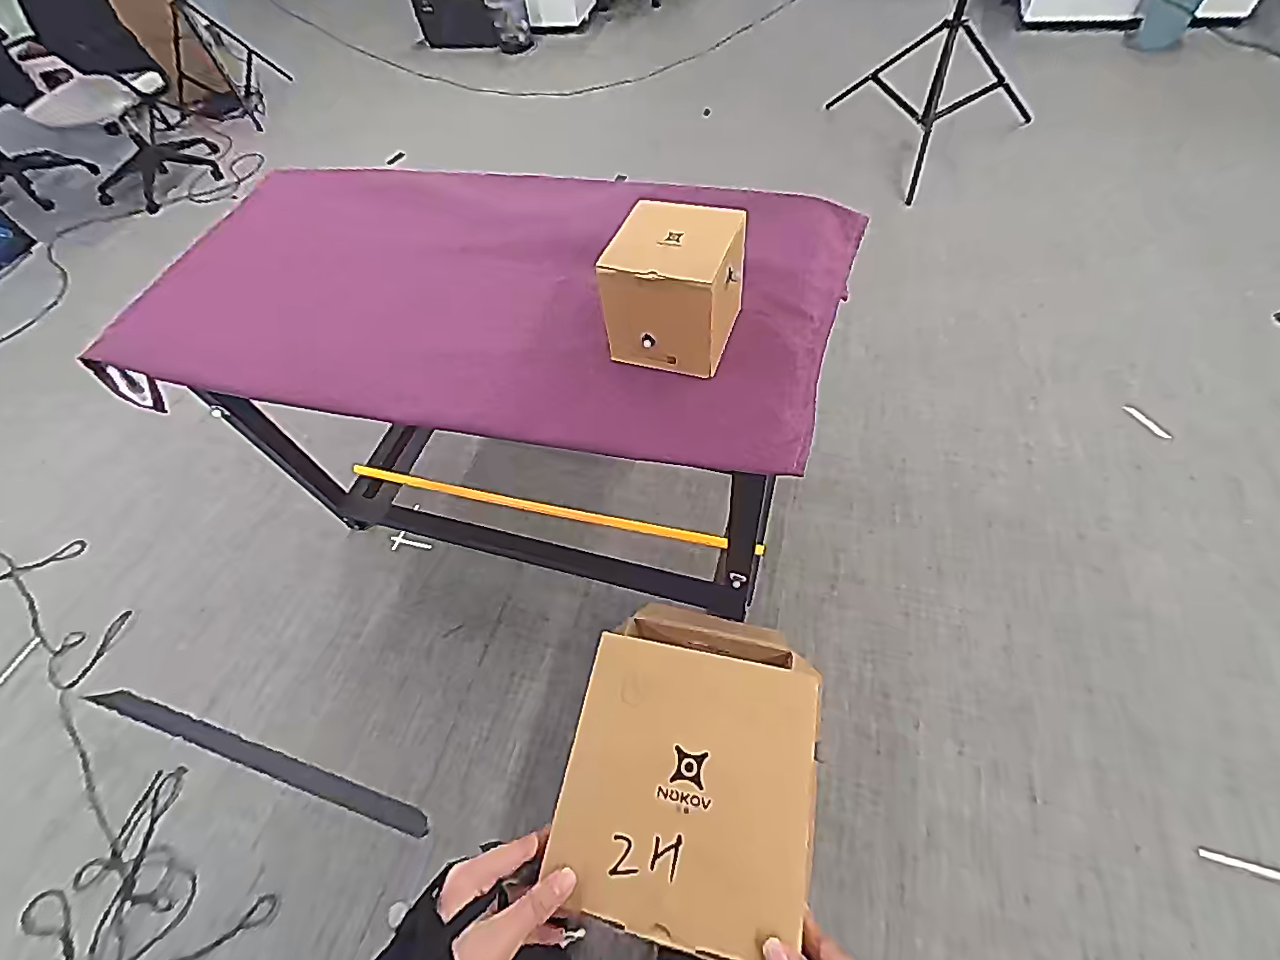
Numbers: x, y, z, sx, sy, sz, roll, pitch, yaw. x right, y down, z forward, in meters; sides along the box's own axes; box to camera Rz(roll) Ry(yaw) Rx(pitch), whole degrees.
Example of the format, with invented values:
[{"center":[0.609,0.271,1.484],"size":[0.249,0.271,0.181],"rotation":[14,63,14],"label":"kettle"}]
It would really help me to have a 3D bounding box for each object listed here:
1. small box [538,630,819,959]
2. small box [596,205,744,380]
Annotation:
[{"center":[0.041,0.241,0.433],"size":[0.168,0.176,0.179],"rotation":[7,62,13],"label":"small box"},{"center":[0.050,-0.281,0.814],"size":[0.168,0.176,0.179],"rotation":[14,58,16],"label":"small box"}]
